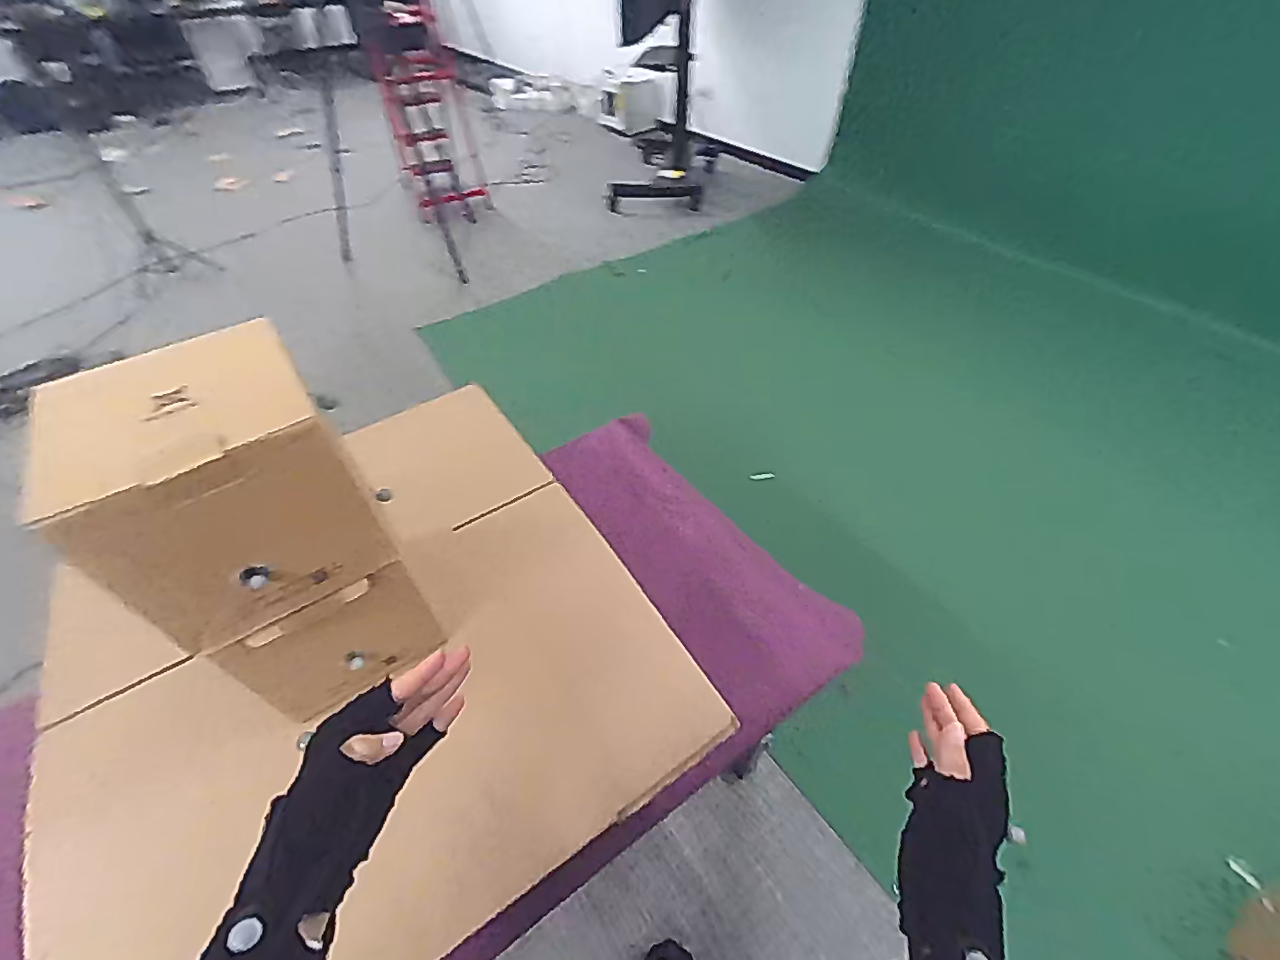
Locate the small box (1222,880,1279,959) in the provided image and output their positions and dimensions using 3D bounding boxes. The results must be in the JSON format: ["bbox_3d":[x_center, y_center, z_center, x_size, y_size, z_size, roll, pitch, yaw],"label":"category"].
[{"bbox_3d":[1.297,0.910,1.038,0.179,0.176,0.168,-28,54,-23],"label":"small box"}]

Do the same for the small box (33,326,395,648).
[{"bbox_3d":[-0.337,0.003,0.454,0.168,0.176,0.179,-29,53,-23],"label":"small box"}]

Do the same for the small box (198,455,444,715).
[{"bbox_3d":[-0.335,0.111,0.577,0.168,0.176,0.179,-28,52,-21],"label":"small box"}]
